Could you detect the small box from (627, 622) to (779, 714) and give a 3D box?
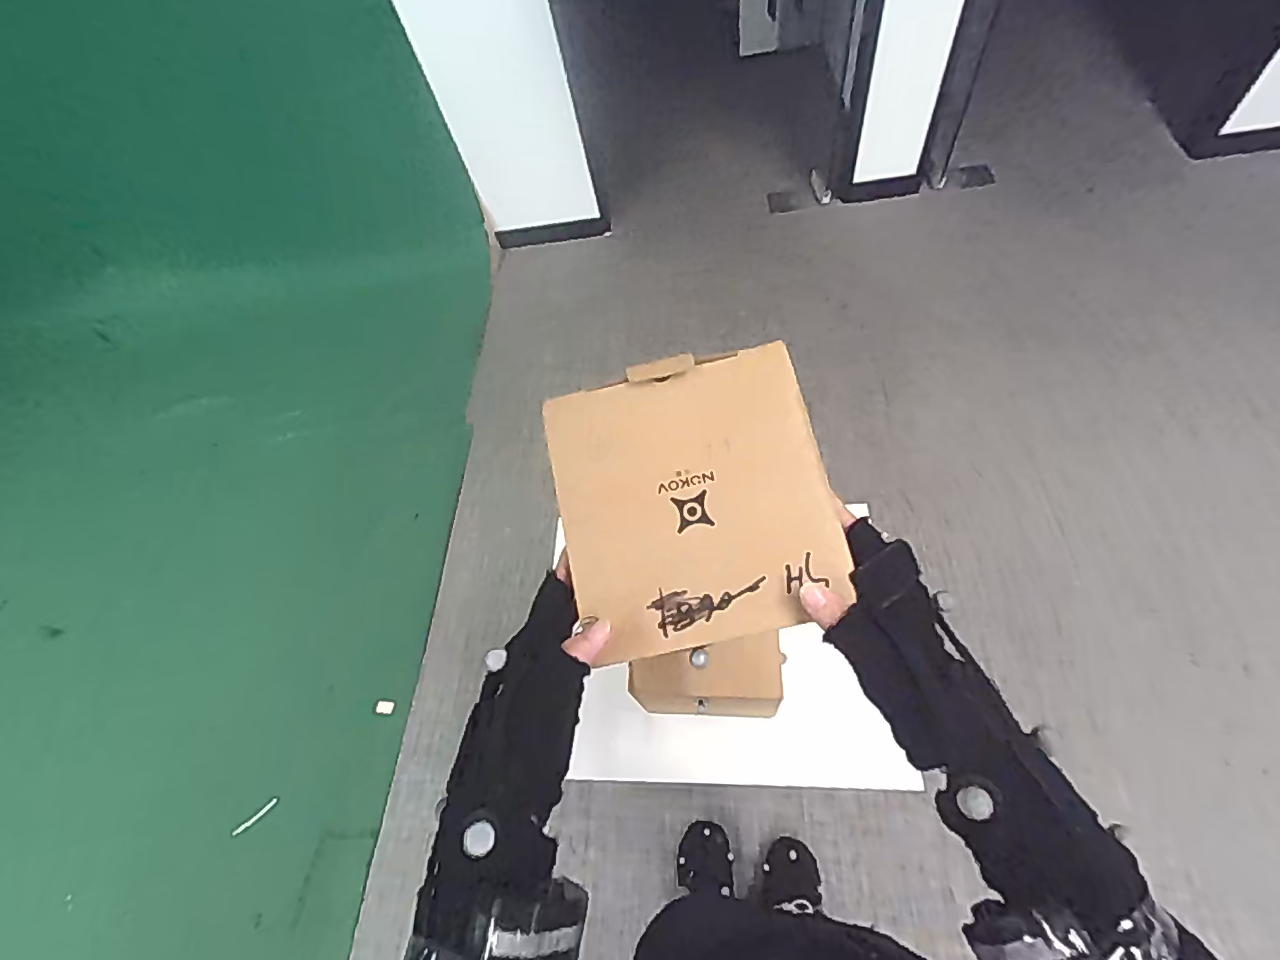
[{"bbox_3d":[0.088,0.211,0.719,0.179,0.176,0.168,-1,60,9],"label":"small box"}]

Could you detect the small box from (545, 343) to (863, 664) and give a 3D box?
[{"bbox_3d":[0.042,0.027,0.418,0.168,0.176,0.179,-16,77,3],"label":"small box"}]
